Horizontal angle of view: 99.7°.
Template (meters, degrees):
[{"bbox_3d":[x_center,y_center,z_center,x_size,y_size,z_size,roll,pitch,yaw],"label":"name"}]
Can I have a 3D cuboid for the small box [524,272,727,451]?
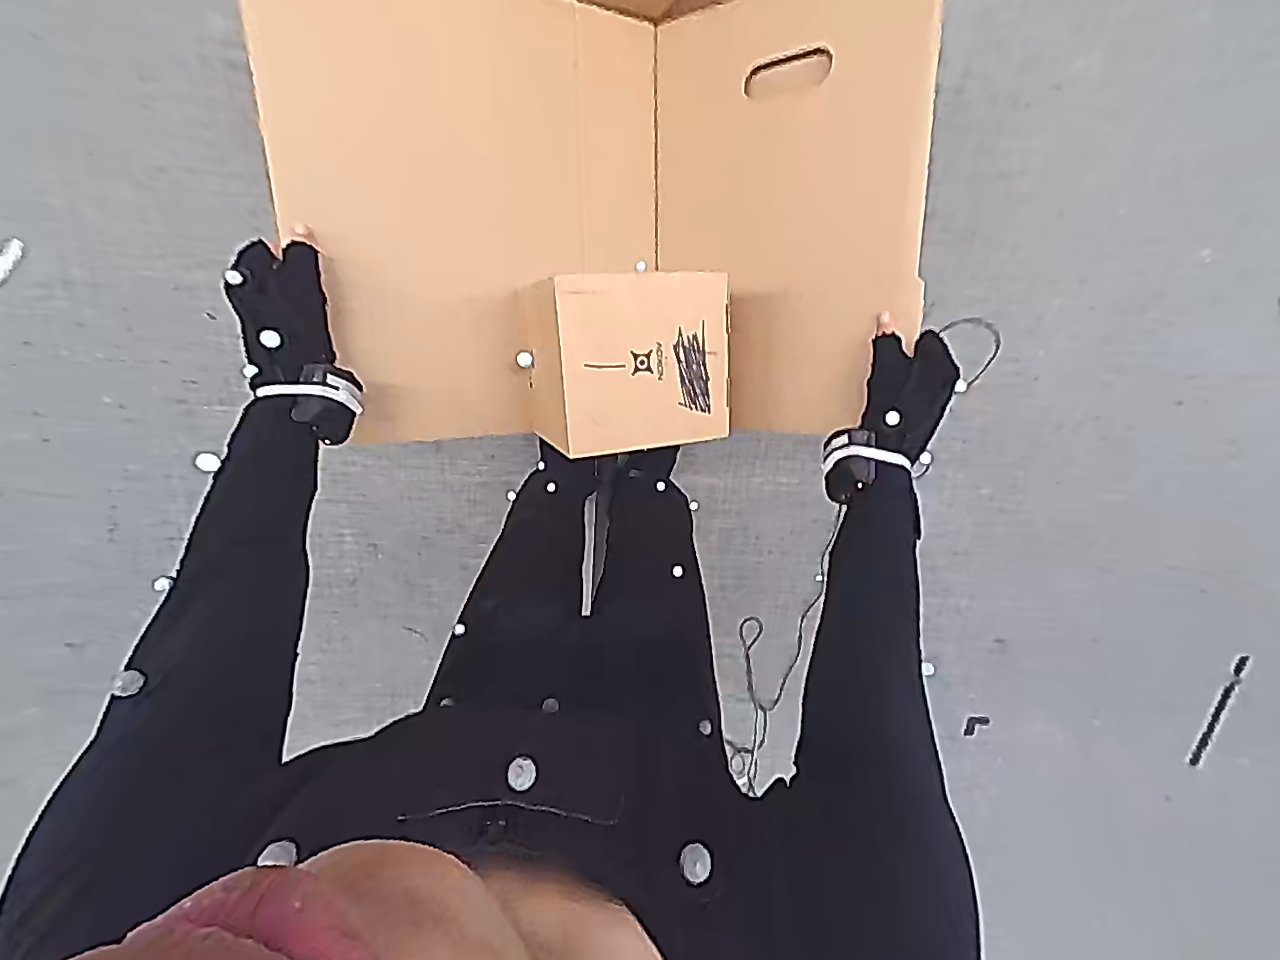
[{"bbox_3d":[-0.021,-0.138,0.601,0.179,0.176,0.168,-9,107,-20],"label":"small box"}]

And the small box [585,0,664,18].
[{"bbox_3d":[-0.025,-0.572,0.490,0.179,0.176,0.168,-3,104,-24],"label":"small box"}]
